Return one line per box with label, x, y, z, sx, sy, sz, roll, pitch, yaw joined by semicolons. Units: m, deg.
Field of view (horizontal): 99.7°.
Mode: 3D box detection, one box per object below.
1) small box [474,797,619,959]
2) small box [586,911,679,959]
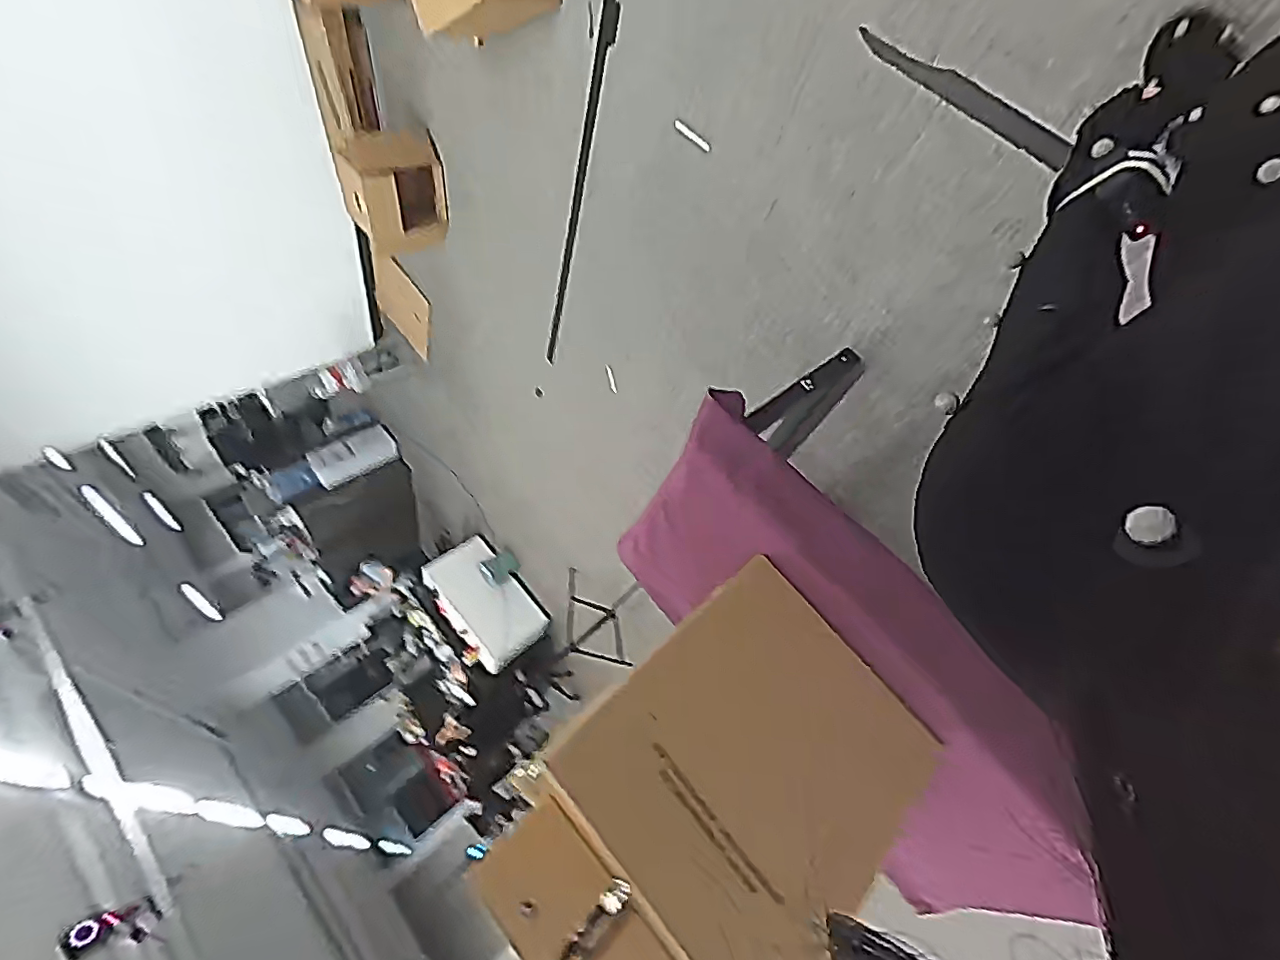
small box;-0.160;0.680;0.918;0.179;0.176;0.168;45;145;17
small box;-0.008;0.832;0.855;0.179;0.176;0.168;45;146;17
